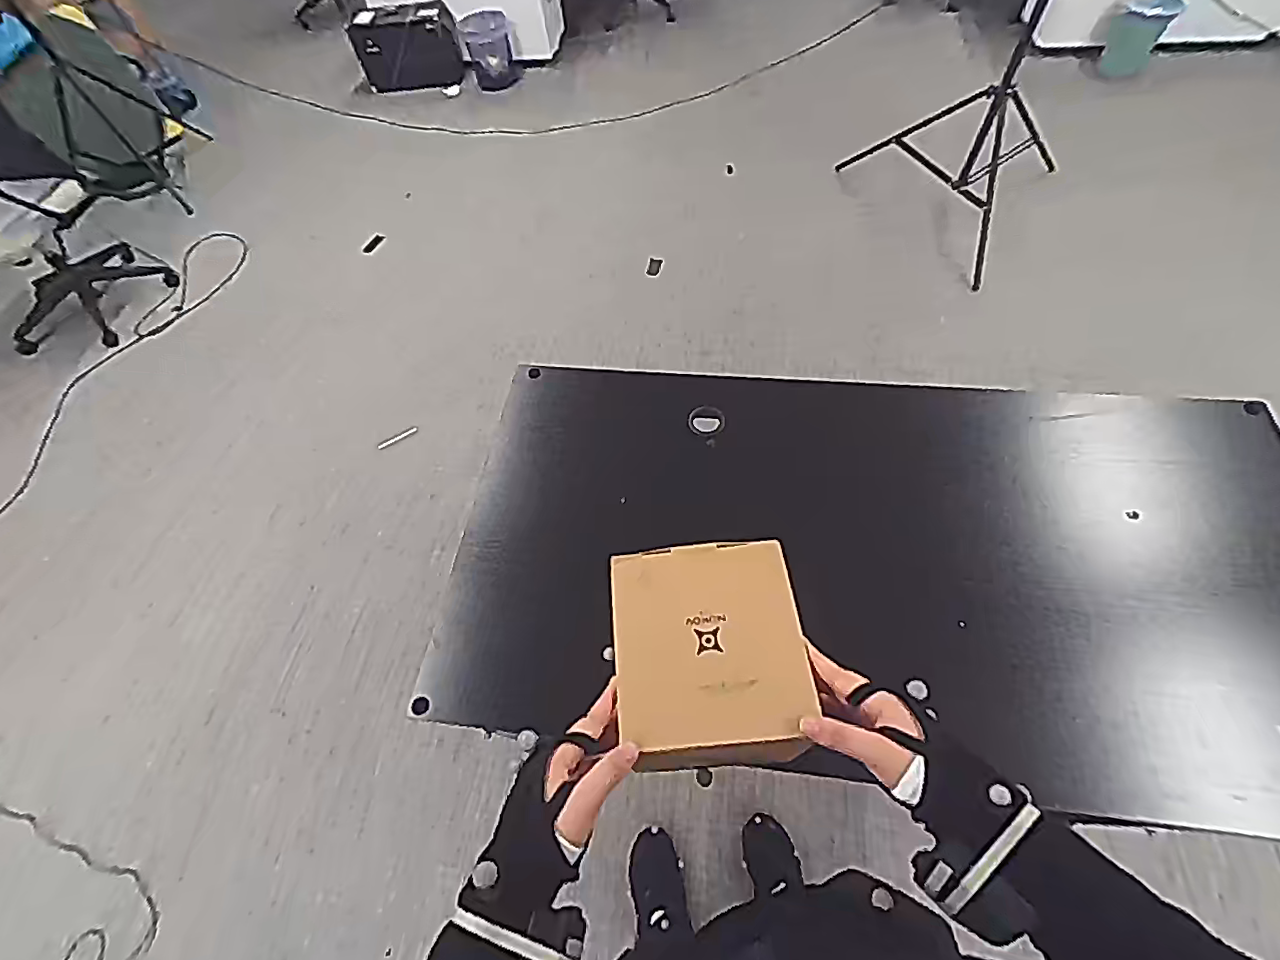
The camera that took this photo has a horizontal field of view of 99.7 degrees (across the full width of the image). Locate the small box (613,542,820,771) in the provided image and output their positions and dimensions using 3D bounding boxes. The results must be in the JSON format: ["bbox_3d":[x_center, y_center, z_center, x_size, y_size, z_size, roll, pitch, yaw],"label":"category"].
[{"bbox_3d":[0.065,0.183,0.550,0.168,0.176,0.179,-7,57,1],"label":"small box"}]
